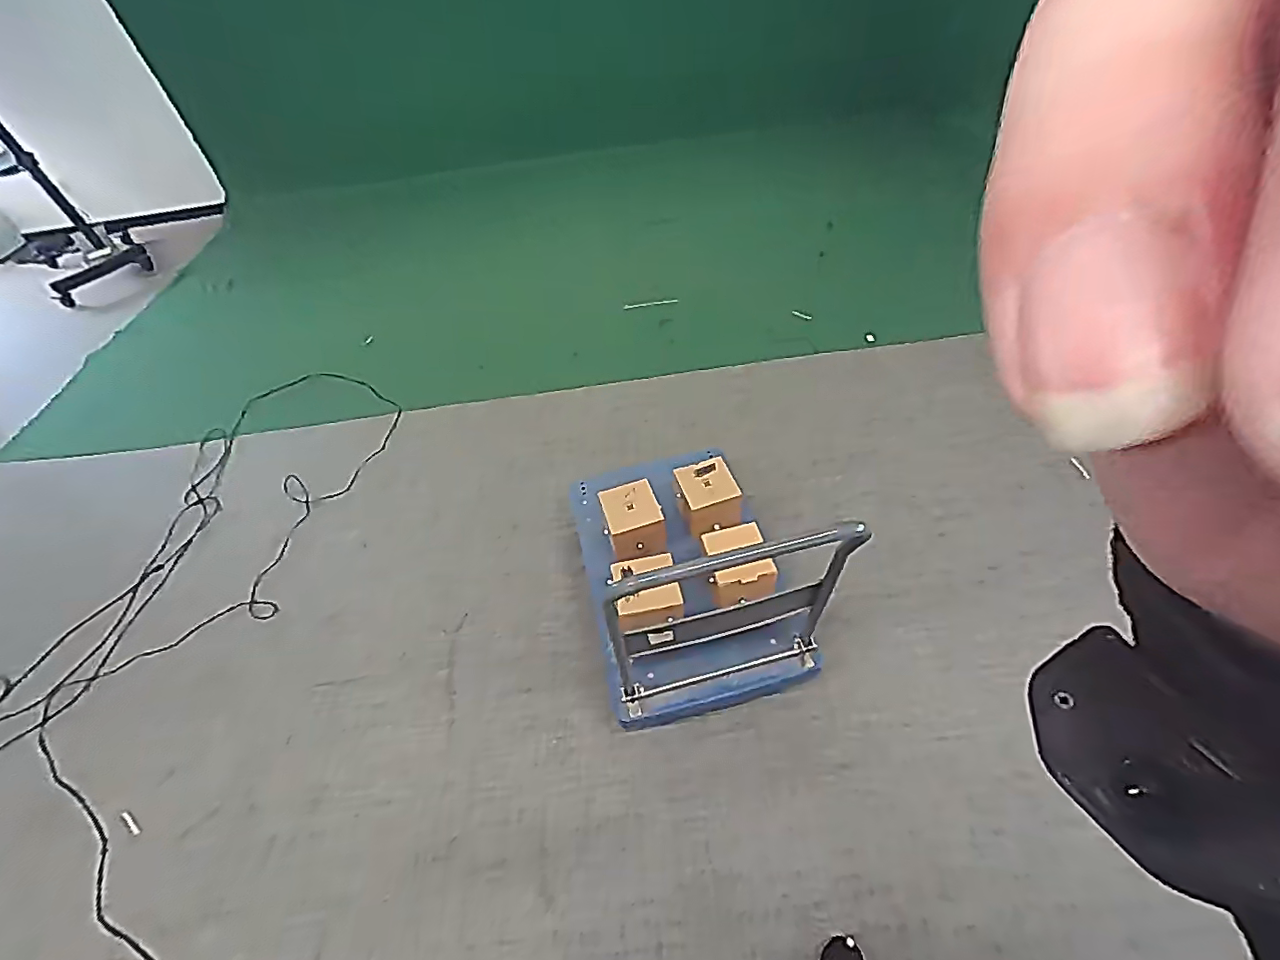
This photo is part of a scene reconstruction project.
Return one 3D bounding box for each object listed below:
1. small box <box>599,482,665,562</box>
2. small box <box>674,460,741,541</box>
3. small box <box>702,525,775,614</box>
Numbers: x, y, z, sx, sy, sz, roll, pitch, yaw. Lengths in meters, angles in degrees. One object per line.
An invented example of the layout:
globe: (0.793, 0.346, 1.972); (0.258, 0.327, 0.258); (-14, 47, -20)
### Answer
small box: (-0.023, 0.142, 1.728); (0.168, 0.176, 0.179); (-16, 49, -8)
small box: (0.216, 0.069, 1.760); (0.168, 0.176, 0.179); (-17, 50, -6)
small box: (0.280, 0.264, 1.584); (0.168, 0.176, 0.179); (-13, 49, -4)
